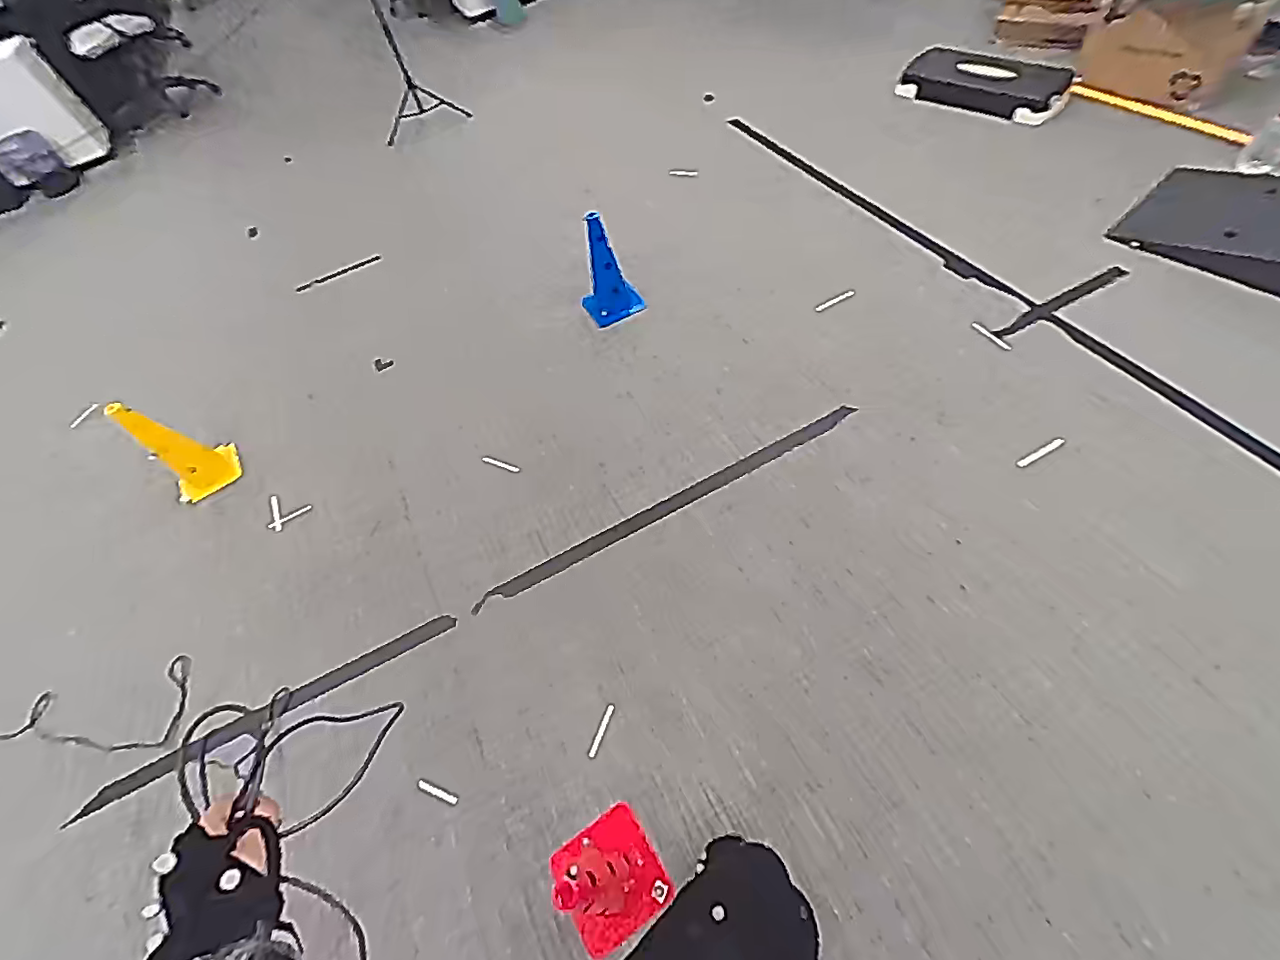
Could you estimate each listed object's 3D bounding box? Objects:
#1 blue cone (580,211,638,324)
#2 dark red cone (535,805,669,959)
[{"bbox_3d":[-0.143,-0.760,1.914,0.193,0.380,0.192,-27,56,-7],"label":"blue cone"},{"bbox_3d":[-0.096,0.698,0.928,0.202,0.394,0.201,-34,57,-12],"label":"dark red cone"}]
